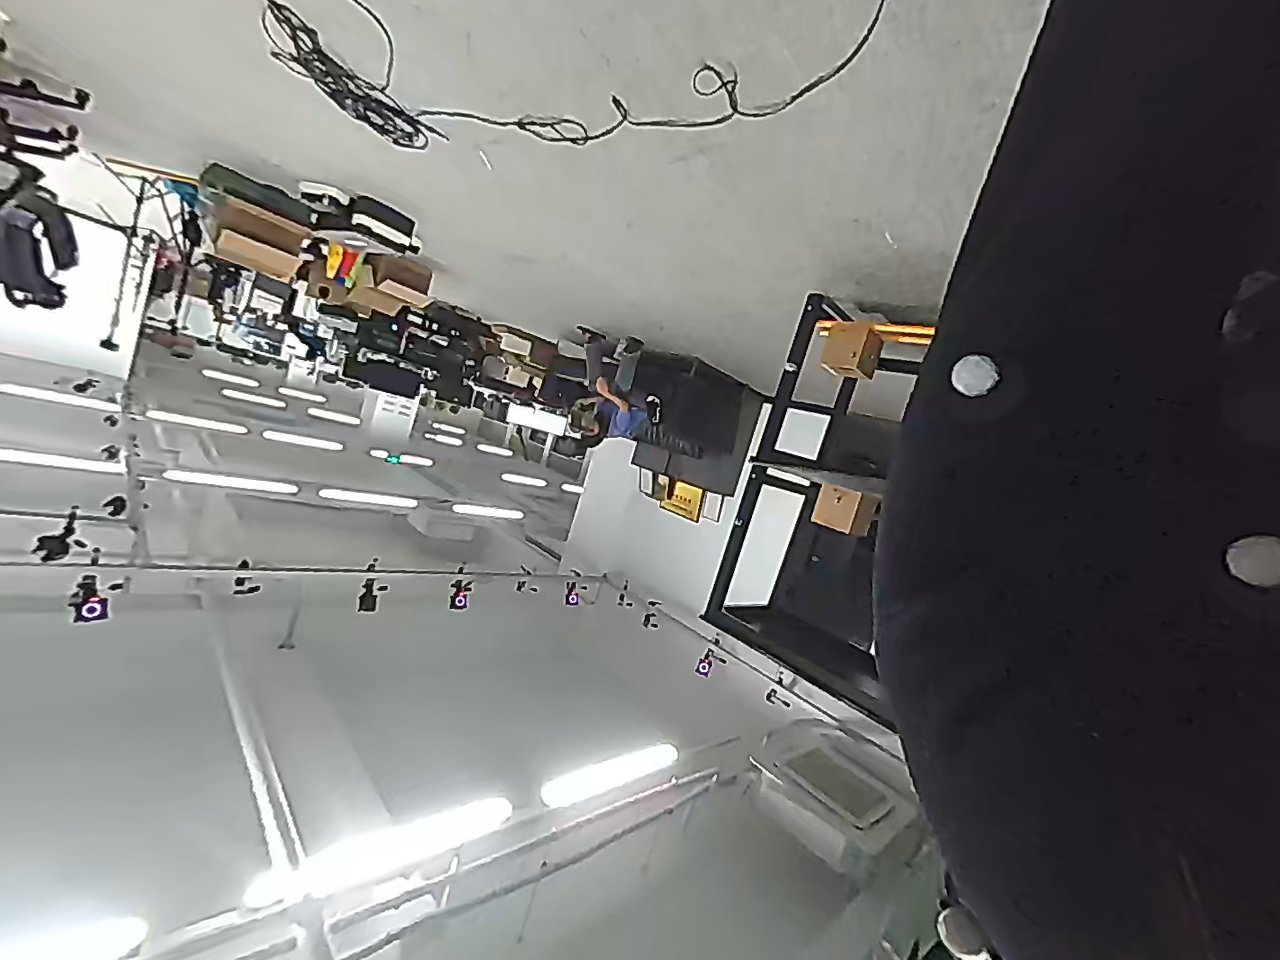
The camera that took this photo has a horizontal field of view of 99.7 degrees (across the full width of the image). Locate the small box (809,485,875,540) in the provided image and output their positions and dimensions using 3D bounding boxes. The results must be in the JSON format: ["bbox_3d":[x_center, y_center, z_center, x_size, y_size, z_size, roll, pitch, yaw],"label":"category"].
[{"bbox_3d":[0.809,0.127,2.151,0.179,0.176,0.168,12,-174,-46],"label":"small box"}]
